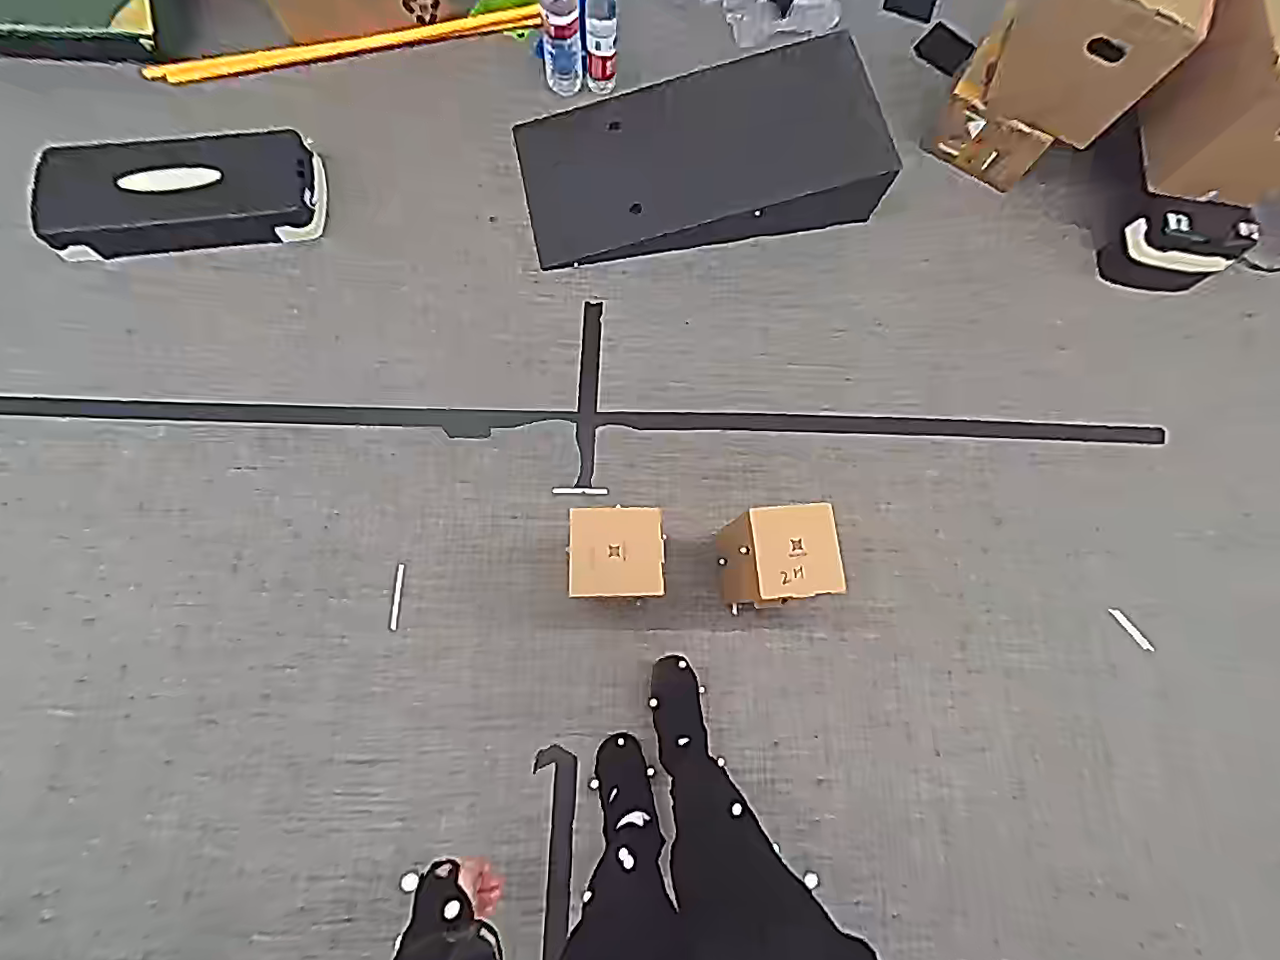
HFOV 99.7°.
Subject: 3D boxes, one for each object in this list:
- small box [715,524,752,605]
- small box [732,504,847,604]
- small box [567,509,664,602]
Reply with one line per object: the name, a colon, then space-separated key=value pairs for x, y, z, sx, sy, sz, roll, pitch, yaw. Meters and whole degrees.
small box: x=0.277 y=0.194 z=1.244 sx=0.168 sy=0.176 sz=0.179 roll=-4 pitch=76 yaw=-5
small box: x=0.289 y=0.154 z=1.085 sx=0.168 sy=0.176 sz=0.179 roll=-3 pitch=76 yaw=-4
small box: x=-0.048 y=0.152 z=1.062 sx=0.179 sy=0.176 sz=0.168 roll=0 pitch=76 yaw=-3
